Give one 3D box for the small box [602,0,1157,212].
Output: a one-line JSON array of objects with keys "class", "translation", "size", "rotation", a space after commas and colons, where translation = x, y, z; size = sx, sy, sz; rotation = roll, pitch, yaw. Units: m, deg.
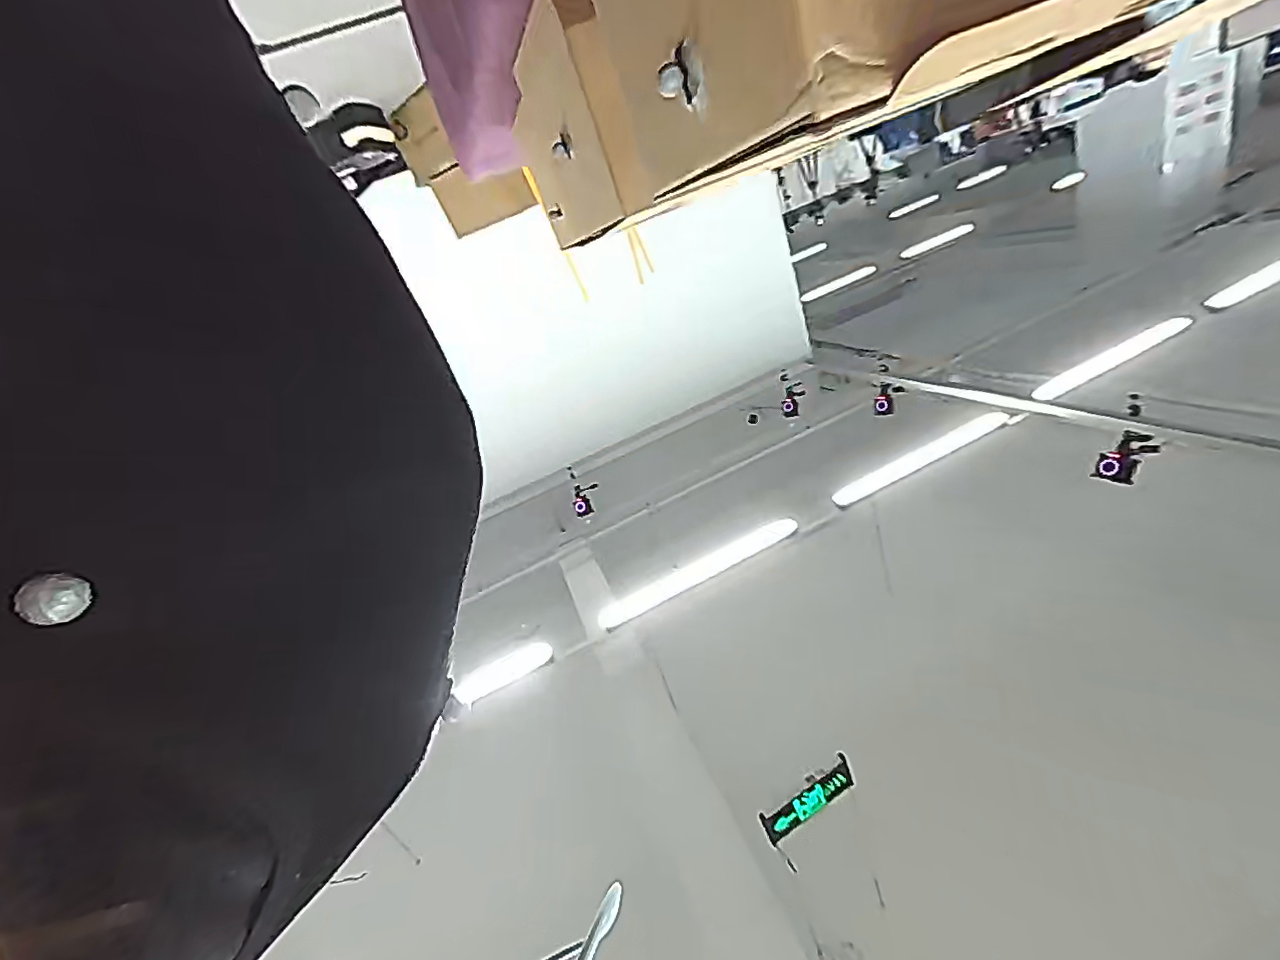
[{"class": "small box", "translation": [0.080, -0.248, 0.241], "size": [0.168, 0.176, 0.179], "rotation": [-26, -156, -9]}]
